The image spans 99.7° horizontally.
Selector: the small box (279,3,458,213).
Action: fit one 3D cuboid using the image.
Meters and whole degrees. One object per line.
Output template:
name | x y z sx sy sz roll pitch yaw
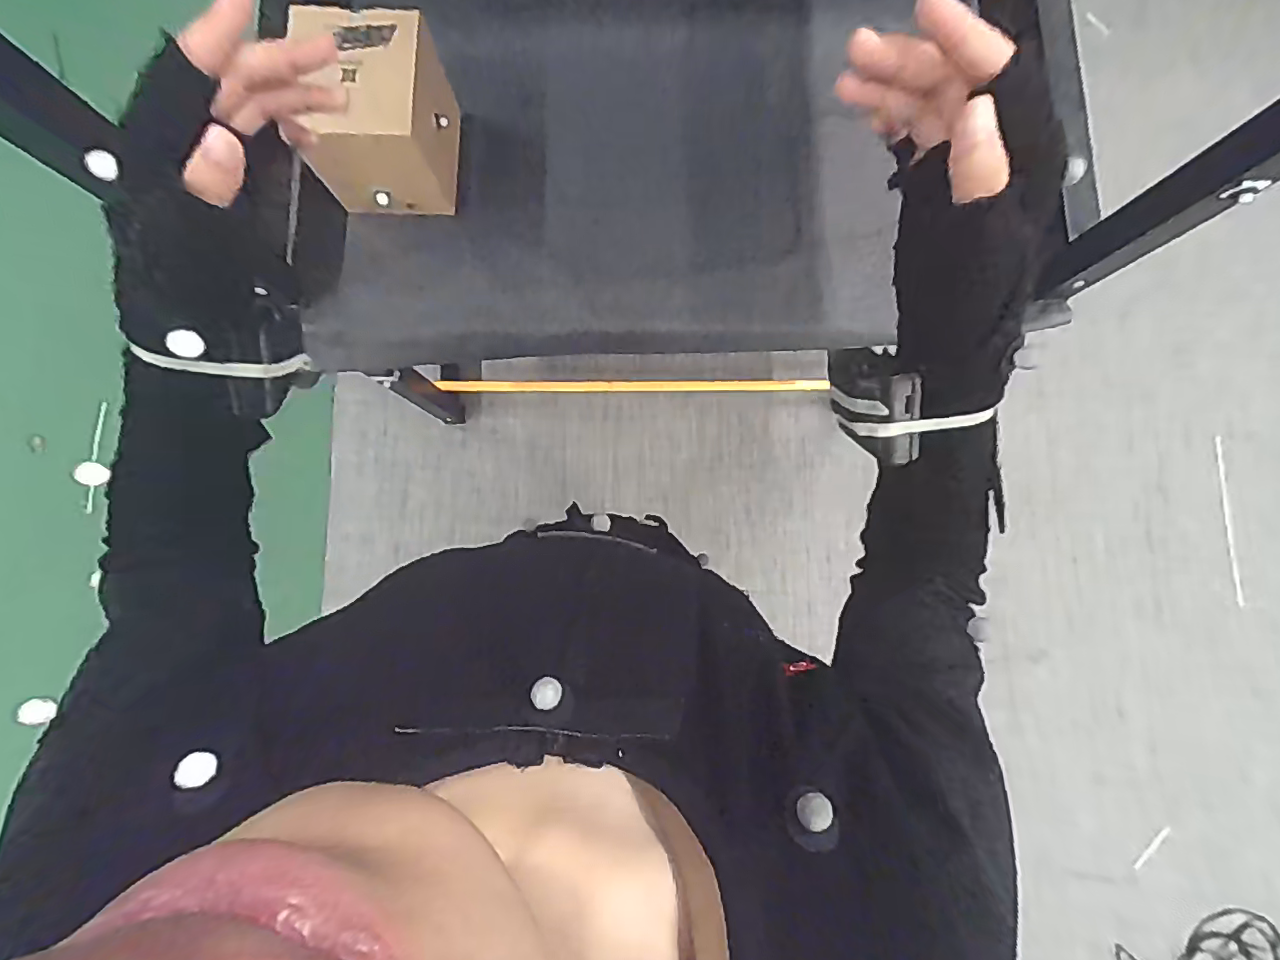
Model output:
small box | -0.362 -0.506 0.755 0.168 0.176 0.179 1 84 -1
